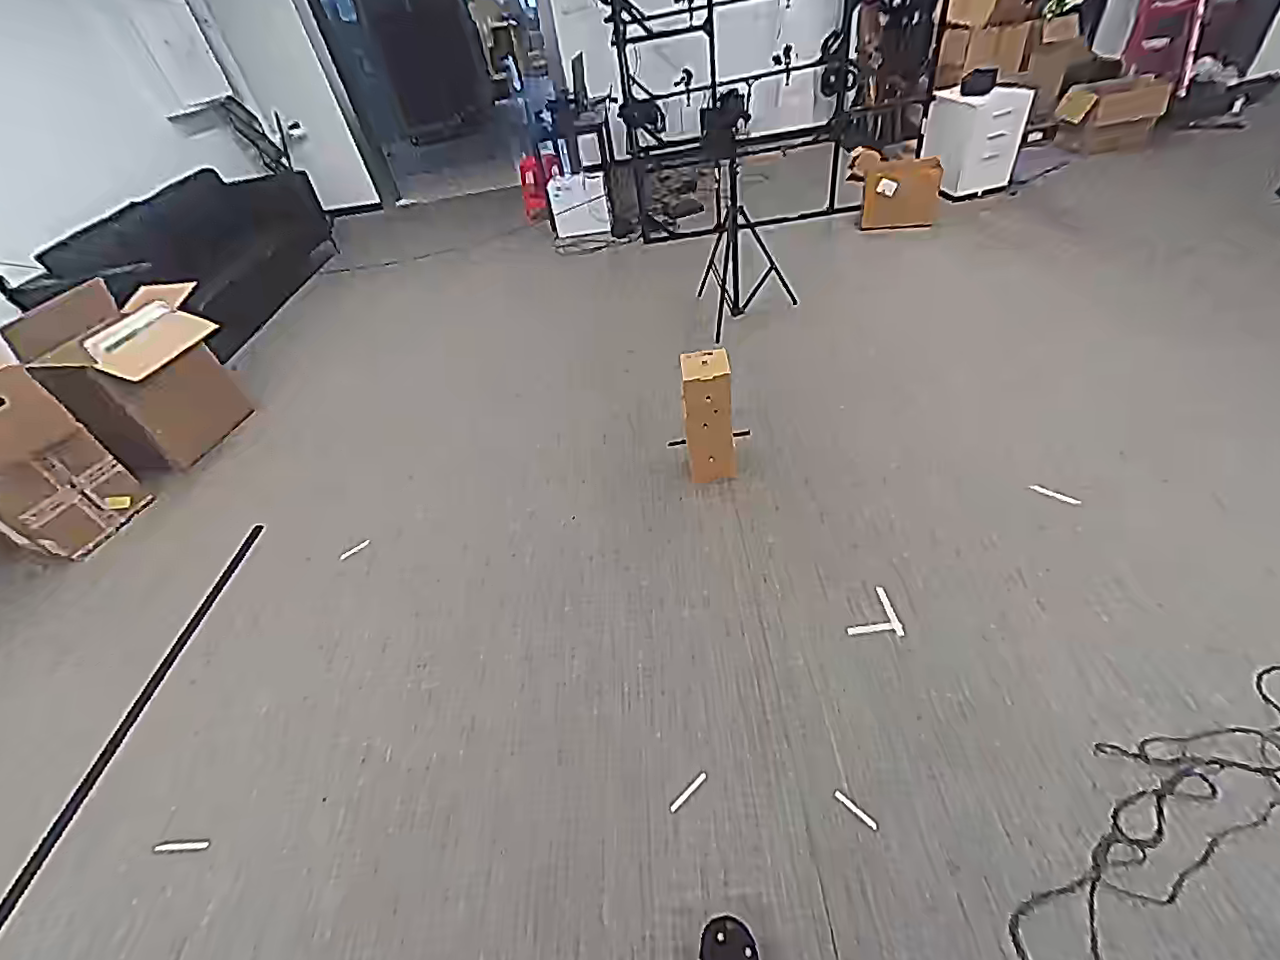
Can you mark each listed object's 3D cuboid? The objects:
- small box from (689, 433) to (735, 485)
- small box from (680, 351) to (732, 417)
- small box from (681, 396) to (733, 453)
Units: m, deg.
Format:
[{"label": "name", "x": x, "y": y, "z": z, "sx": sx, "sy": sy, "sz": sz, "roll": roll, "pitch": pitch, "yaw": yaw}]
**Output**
[{"label": "small box", "x": 0.285, "y": -0.101, "z": 2.165, "sx": 0.179, "sy": 0.176, "sz": 0.168, "roll": -7, "pitch": 43, "yaw": 5}, {"label": "small box", "x": 0.238, "y": -0.338, "z": 1.943, "sx": 0.168, "sy": 0.176, "sz": 0.179, "roll": -6, "pitch": 44, "yaw": 6}, {"label": "small box", "x": 0.253, "y": -0.217, "z": 2.052, "sx": 0.179, "sy": 0.176, "sz": 0.168, "roll": -6, "pitch": 44, "yaw": 7}]
